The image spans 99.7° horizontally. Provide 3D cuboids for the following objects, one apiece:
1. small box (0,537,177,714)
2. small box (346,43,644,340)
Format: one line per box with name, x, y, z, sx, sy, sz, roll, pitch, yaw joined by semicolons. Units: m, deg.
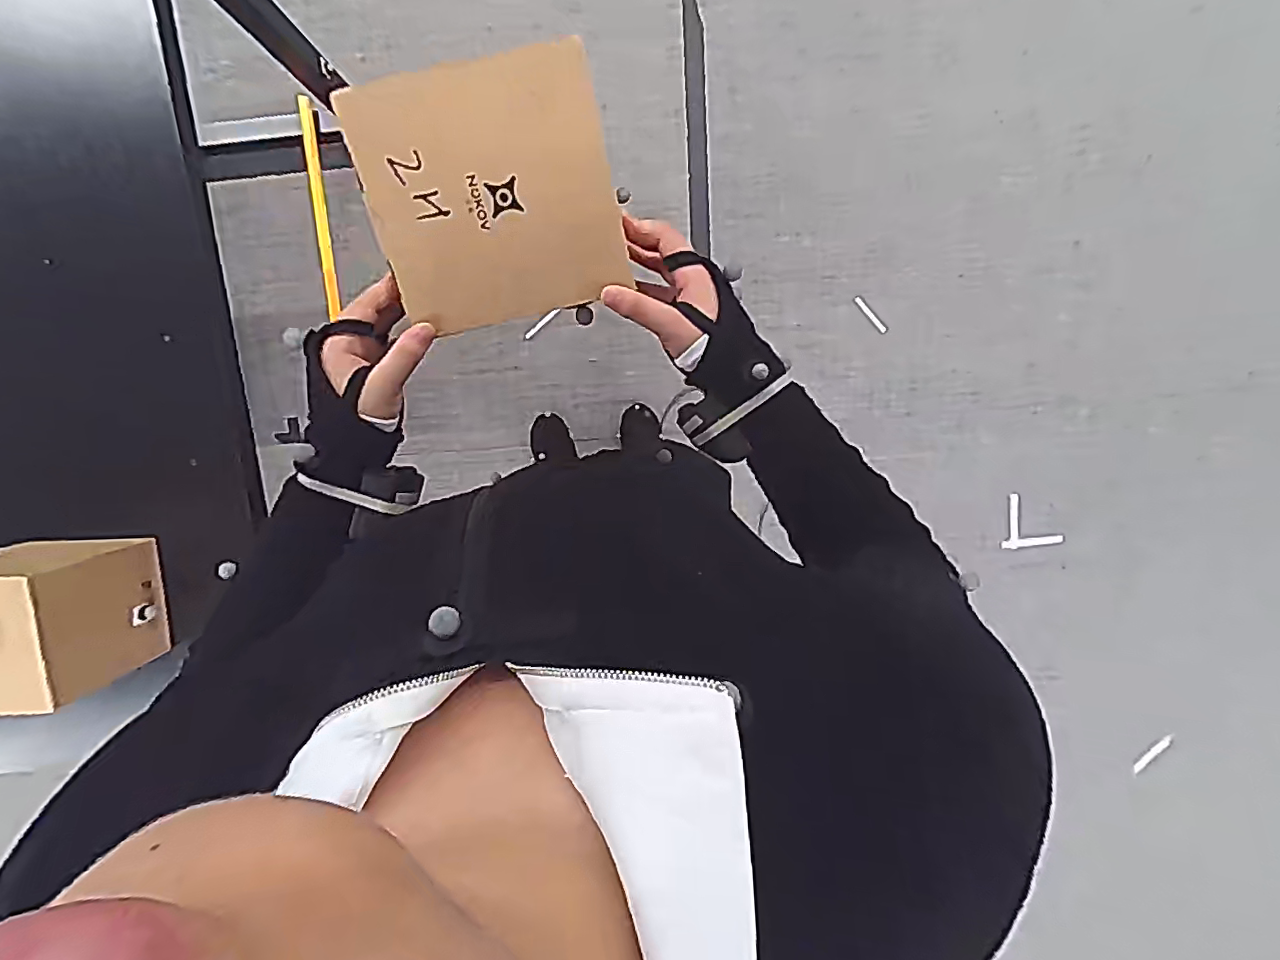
small box;-0.749;0.173;0.683;0.179;0.176;0.168;-2;99;-1
small box;-0.102;-0.225;0.459;0.179;0.176;0.168;-12;110;1
